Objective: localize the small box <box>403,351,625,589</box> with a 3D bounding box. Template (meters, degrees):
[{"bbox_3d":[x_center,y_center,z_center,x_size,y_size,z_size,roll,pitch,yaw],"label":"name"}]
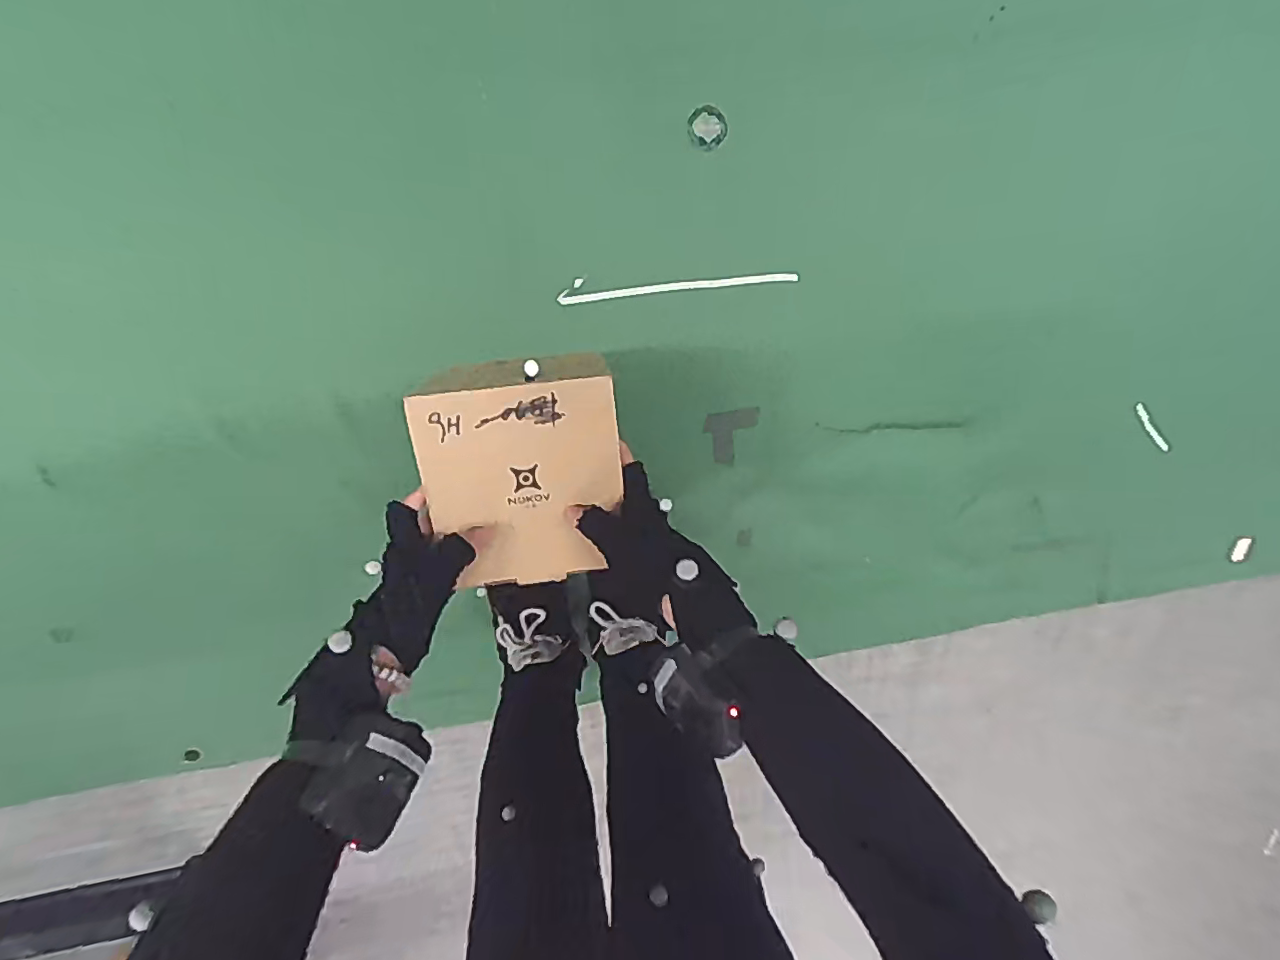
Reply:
[{"bbox_3d":[-0.107,-0.020,0.527,0.168,0.176,0.179,-7,112,-6],"label":"small box"}]
